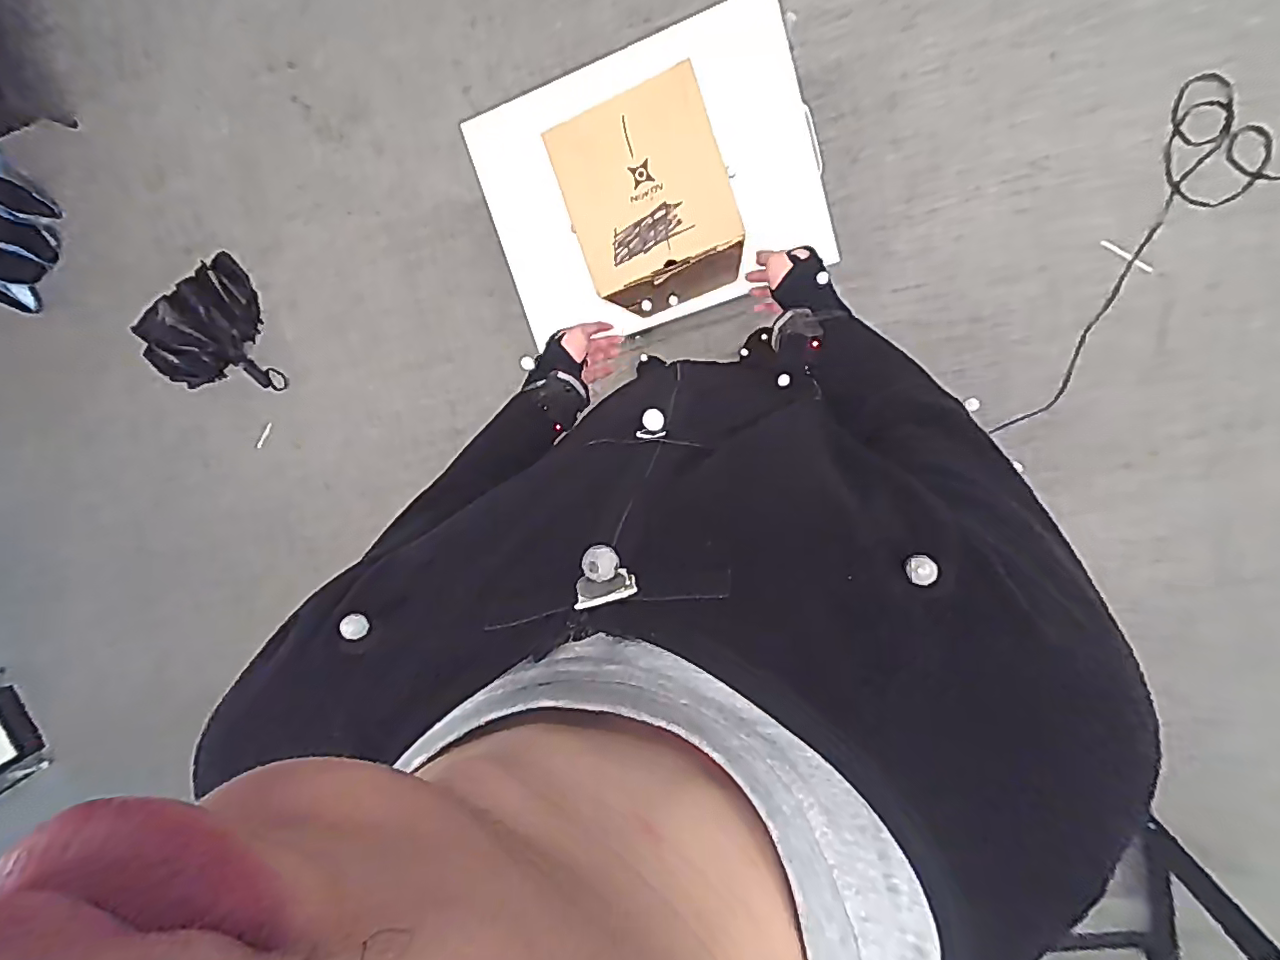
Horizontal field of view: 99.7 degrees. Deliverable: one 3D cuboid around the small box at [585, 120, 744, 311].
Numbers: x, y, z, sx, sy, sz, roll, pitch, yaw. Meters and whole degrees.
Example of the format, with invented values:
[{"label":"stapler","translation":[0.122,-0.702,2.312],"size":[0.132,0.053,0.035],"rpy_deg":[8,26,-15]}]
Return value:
[{"label":"small box","translation":[0.041,-0.362,0.779],"size":[0.168,0.176,0.179],"rpy_deg":[-19,98,12]}]
